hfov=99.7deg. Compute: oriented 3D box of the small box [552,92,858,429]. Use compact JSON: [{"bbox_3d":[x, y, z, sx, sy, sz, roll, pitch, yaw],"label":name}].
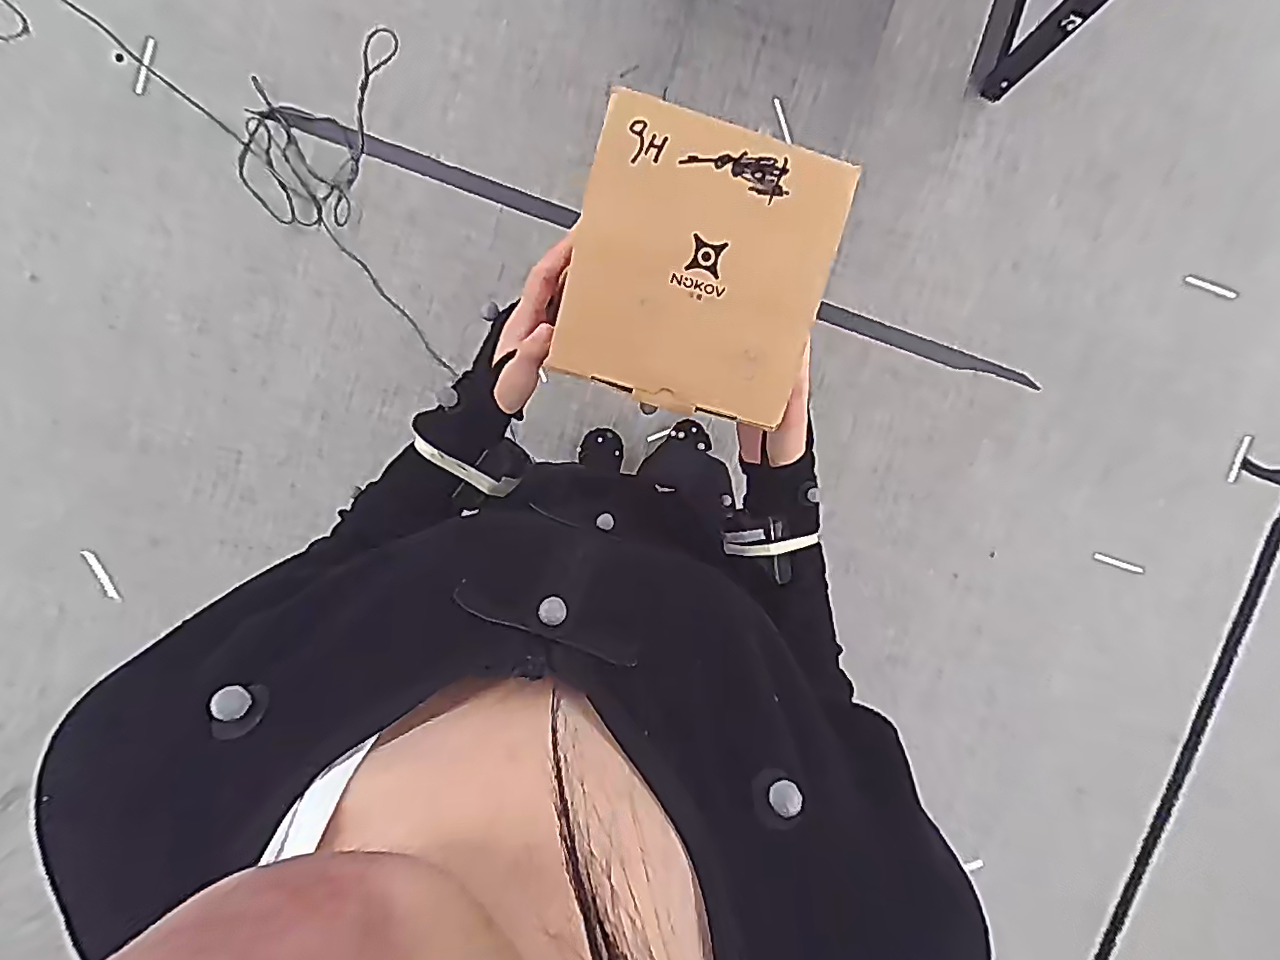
[{"bbox_3d":[0.037,-0.155,0.435,0.168,0.176,0.179,15,101,-7],"label":"small box"}]
